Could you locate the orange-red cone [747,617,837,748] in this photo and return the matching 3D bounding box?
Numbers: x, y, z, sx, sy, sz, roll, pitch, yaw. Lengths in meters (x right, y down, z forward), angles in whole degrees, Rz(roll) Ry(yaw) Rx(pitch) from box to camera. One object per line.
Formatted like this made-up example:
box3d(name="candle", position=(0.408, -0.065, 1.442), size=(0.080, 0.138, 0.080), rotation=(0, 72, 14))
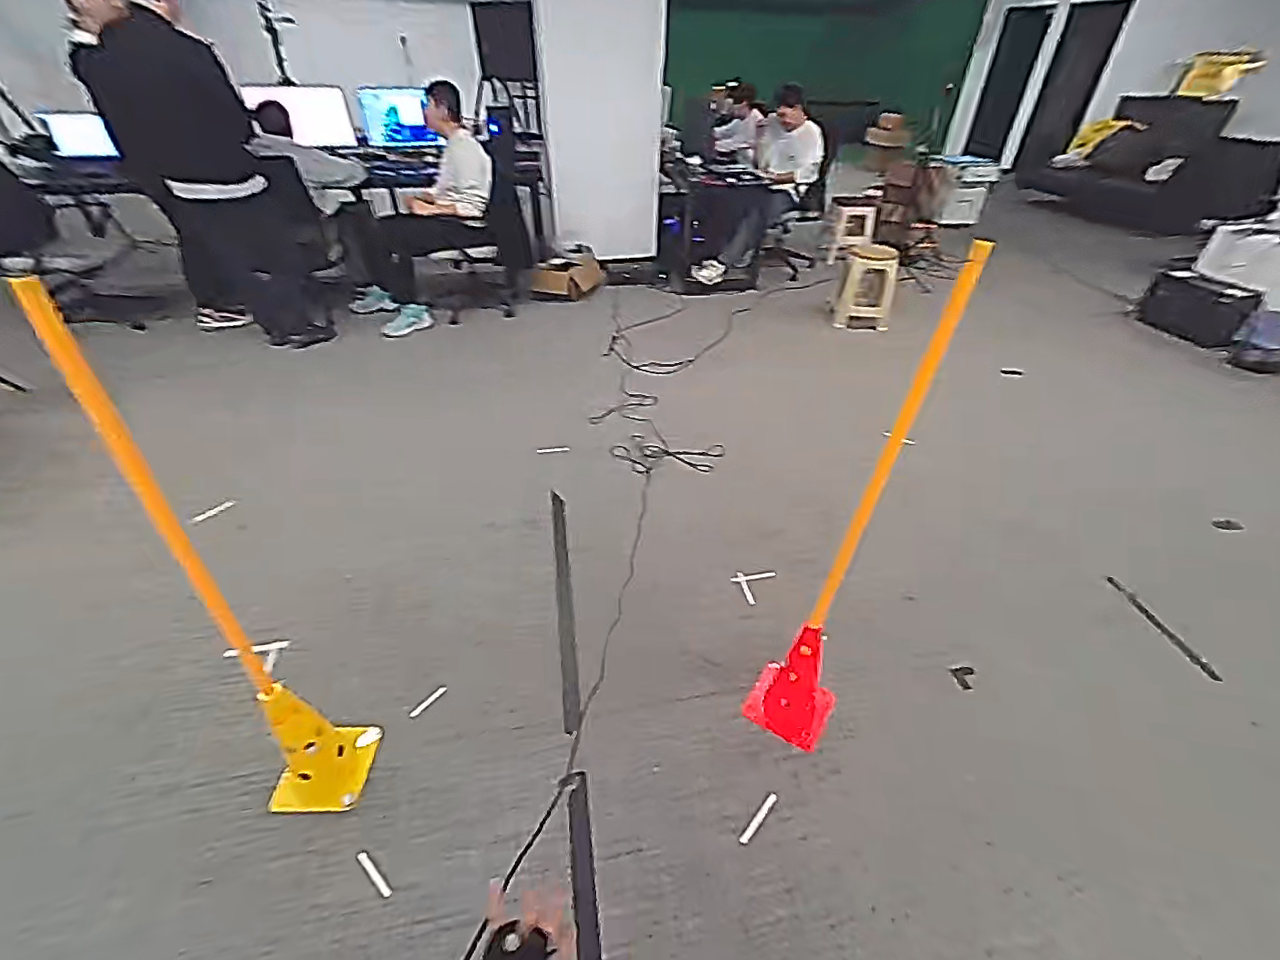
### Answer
box3d(name="orange-red cone", position=(0.412, 0.473, 1.368), size=(0.198, 0.360, 0.199), rotation=(23, 44, 28))
